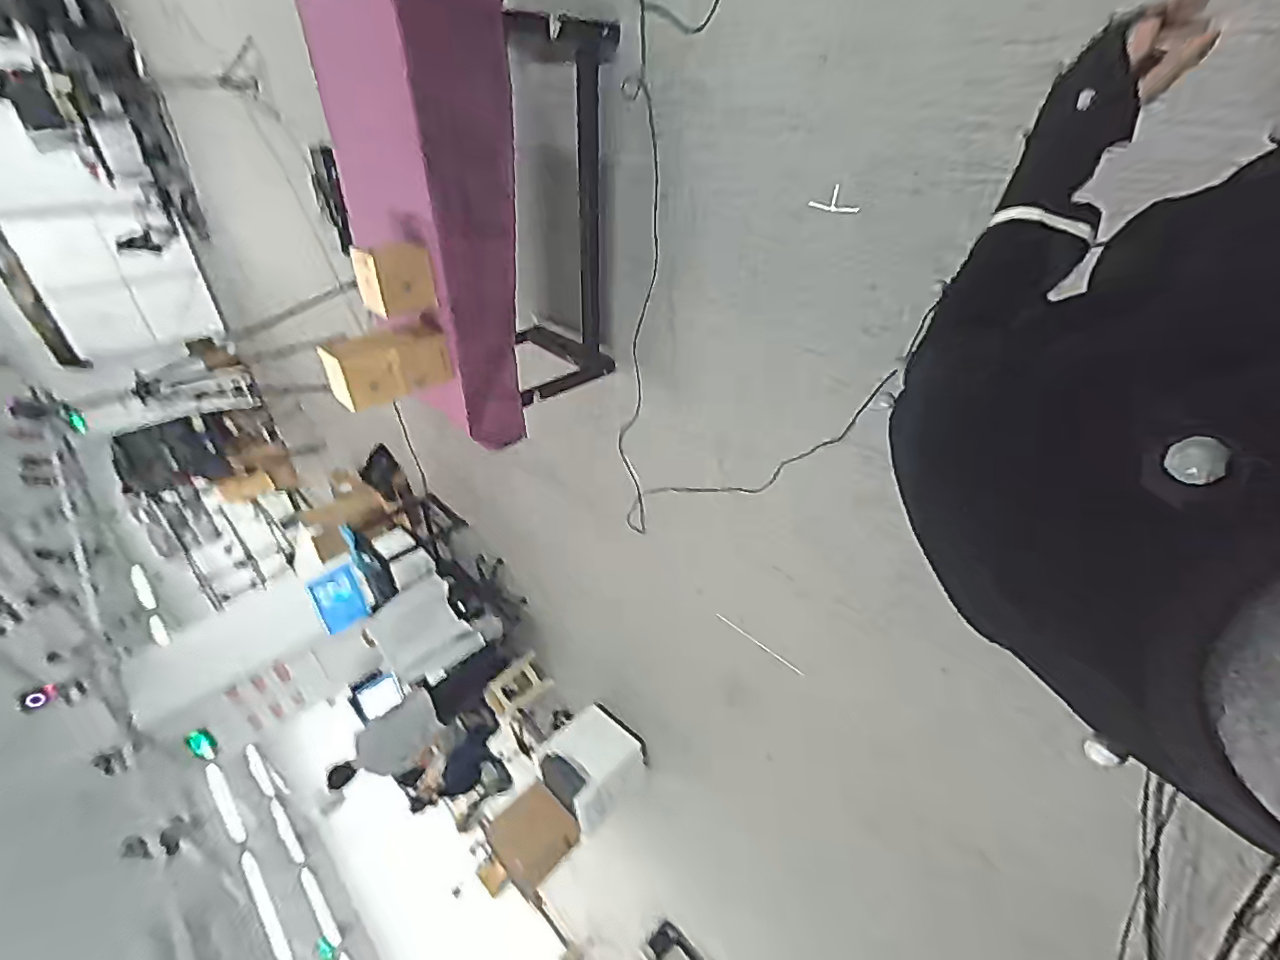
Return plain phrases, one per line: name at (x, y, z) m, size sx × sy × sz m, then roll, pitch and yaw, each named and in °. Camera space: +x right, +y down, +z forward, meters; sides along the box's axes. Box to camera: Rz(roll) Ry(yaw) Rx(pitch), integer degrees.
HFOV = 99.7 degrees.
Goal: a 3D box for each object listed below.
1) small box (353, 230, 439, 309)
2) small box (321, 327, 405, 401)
small box at (-0.733, -0.642, 1.641) m, size 0.168 × 0.176 × 0.179 m, roll 31°, pitch 135°, yaw 34°
small box at (-0.864, -0.373, 1.705) m, size 0.179 × 0.176 × 0.168 m, roll 30°, pitch 134°, yaw 37°
